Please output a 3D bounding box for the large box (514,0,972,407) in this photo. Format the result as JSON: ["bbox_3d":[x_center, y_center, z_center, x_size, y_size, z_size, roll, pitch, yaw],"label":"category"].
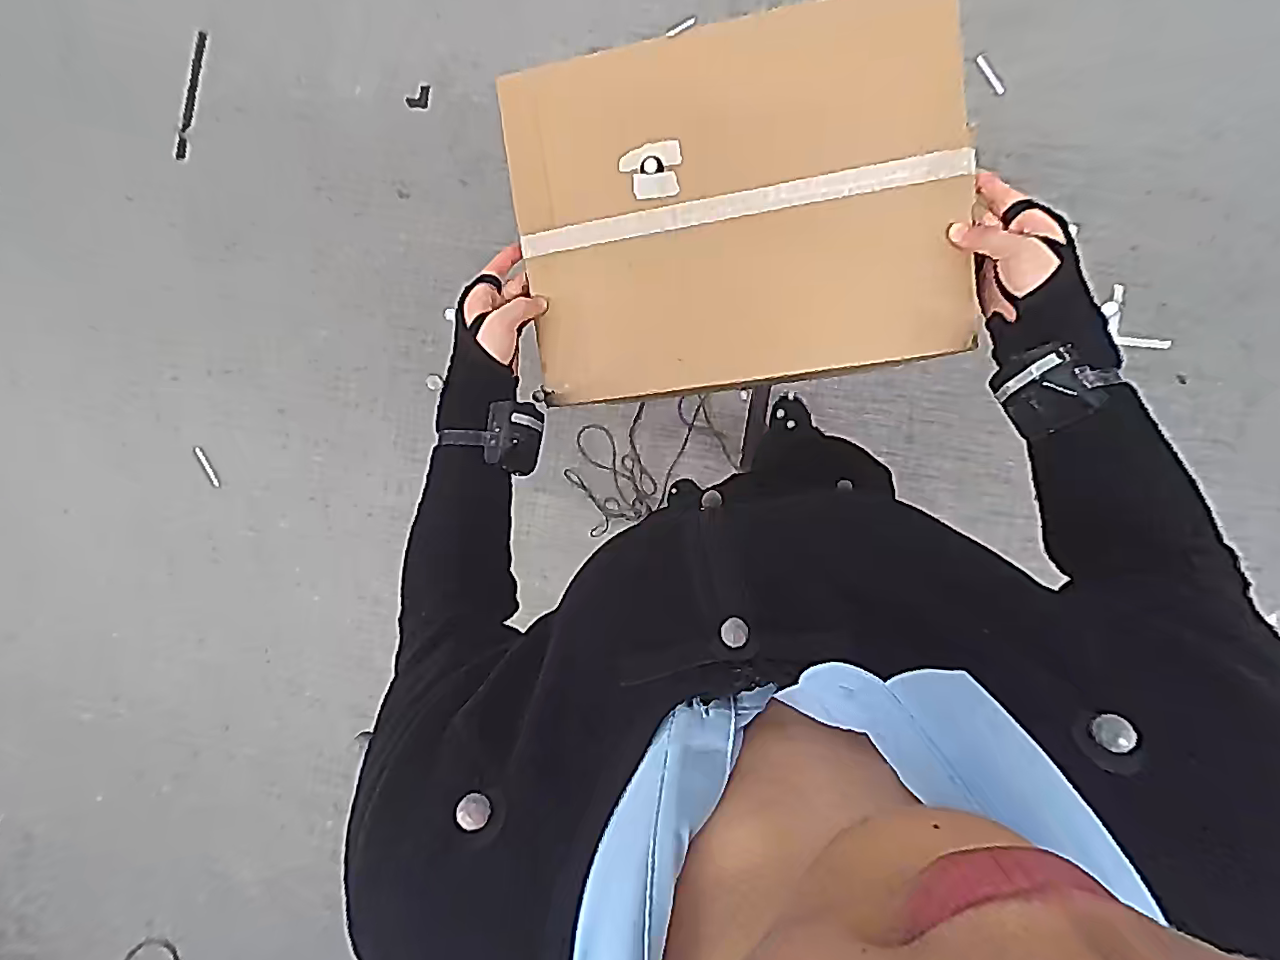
[{"bbox_3d":[0.114,-0.270,0.658,0.408,0.320,0.320,-7,95,10],"label":"large box"}]
